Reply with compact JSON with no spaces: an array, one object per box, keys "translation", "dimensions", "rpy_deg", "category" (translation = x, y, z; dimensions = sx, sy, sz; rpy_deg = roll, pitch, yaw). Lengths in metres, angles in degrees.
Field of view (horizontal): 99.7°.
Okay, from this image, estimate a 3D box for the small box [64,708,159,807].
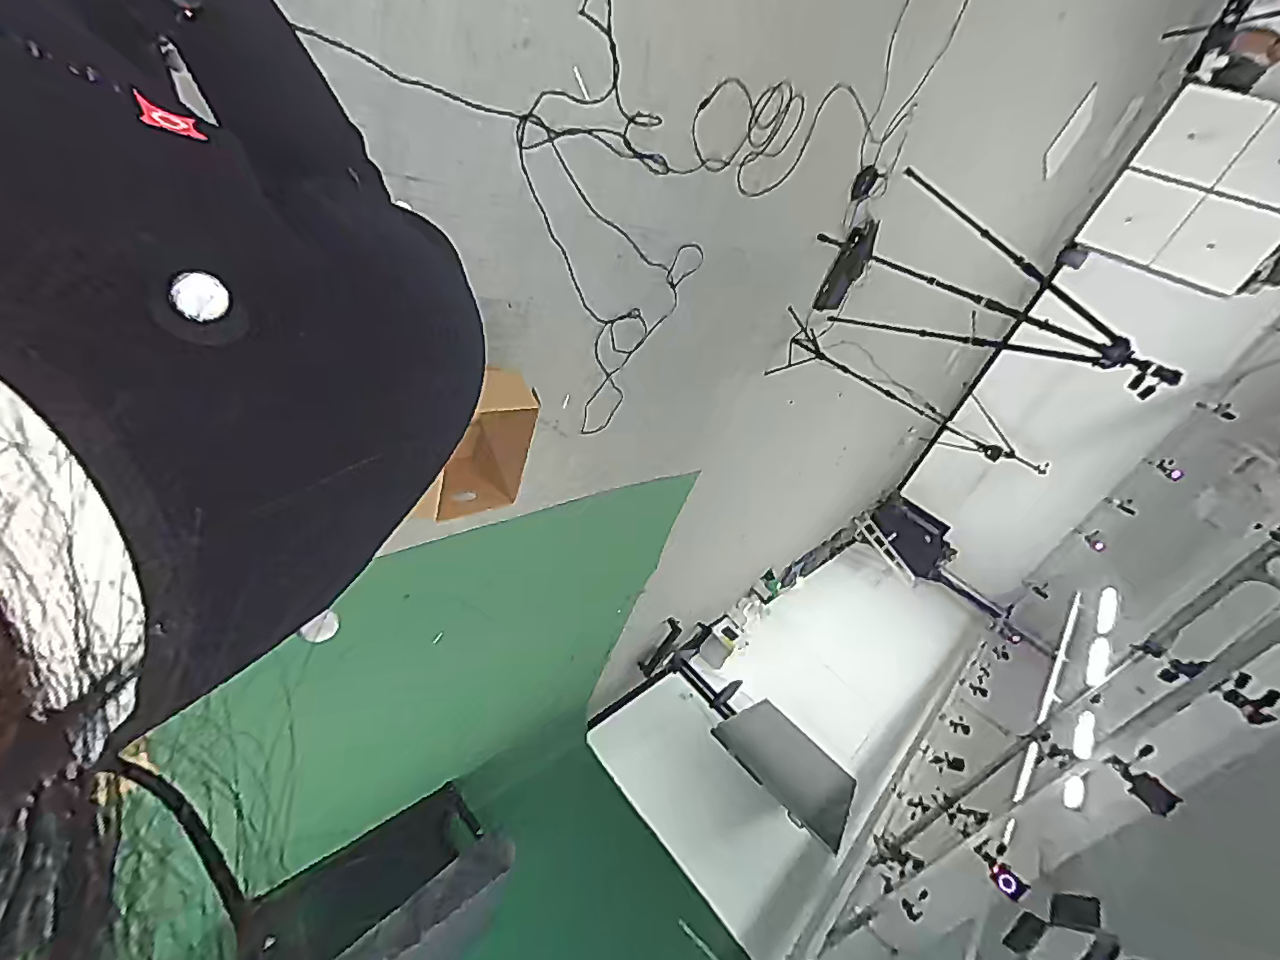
[{"translation":[-1.642,0.855,1.678],"dimensions":[0.179,0.176,0.168],"rpy_deg":[-20,141,-44],"category":"small box"}]
